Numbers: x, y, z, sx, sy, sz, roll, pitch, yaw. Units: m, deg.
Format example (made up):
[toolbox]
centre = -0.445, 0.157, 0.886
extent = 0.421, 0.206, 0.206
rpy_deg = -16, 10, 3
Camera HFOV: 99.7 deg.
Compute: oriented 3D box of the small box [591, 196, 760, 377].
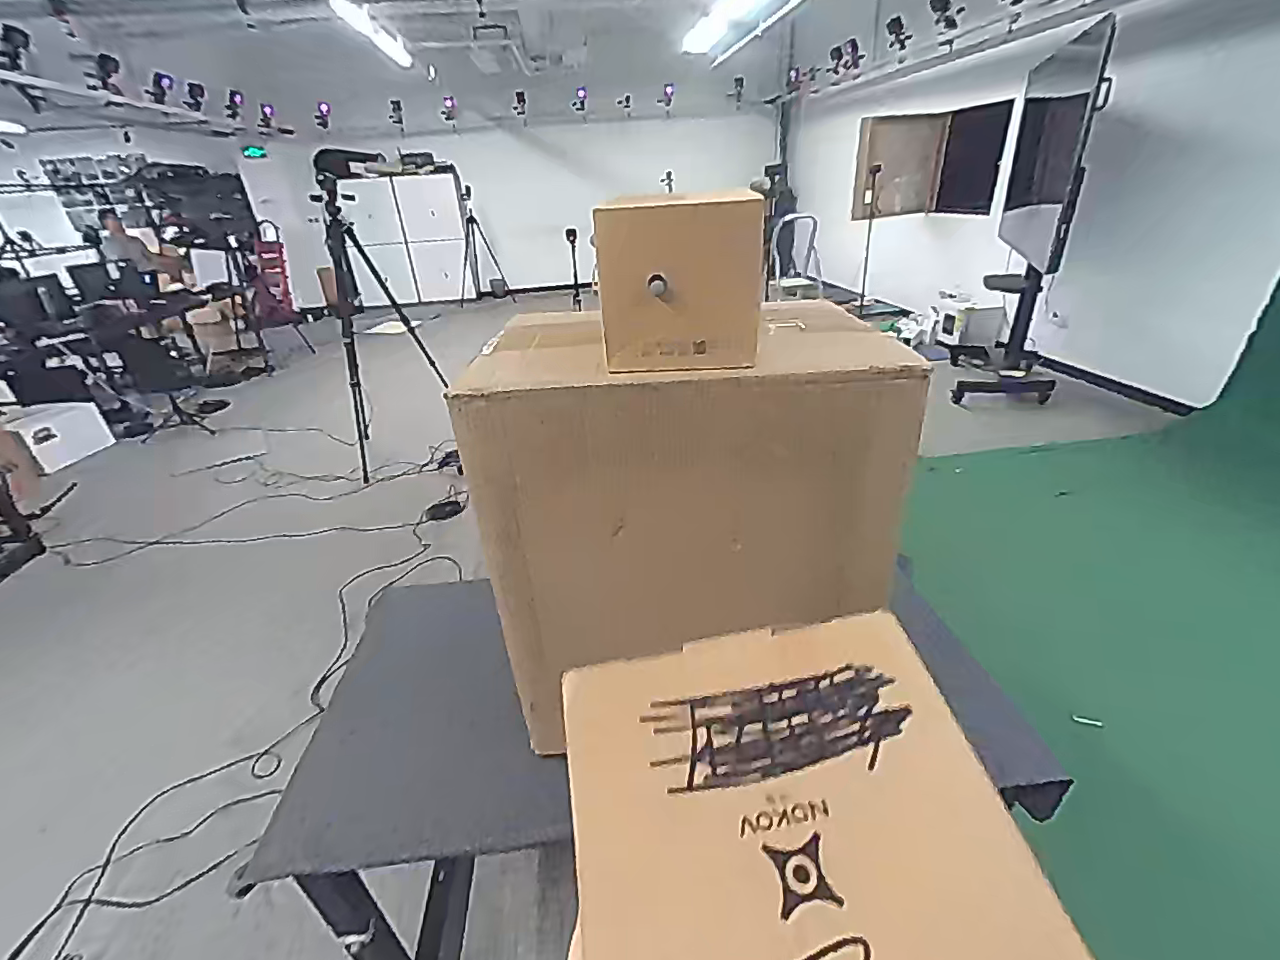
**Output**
[small box]
centre = 0.045, -0.222, 0.624
extent = 0.168, 0.176, 0.179
rpy_deg = -1, 30, 5
